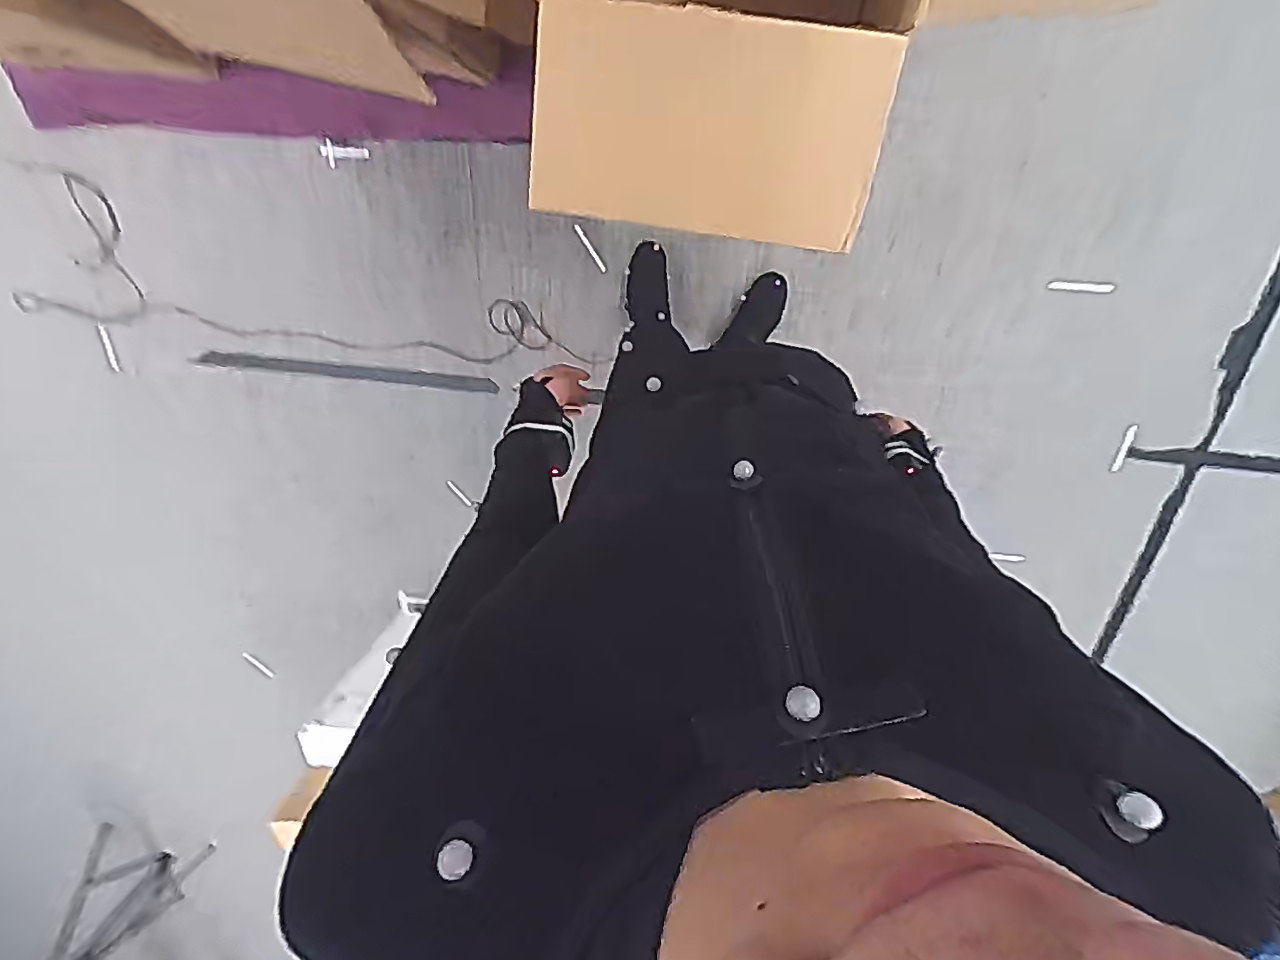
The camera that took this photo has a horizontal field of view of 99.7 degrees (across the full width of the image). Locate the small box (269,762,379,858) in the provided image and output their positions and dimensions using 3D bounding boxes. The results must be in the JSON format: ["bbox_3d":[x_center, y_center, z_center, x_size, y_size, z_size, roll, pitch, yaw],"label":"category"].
[{"bbox_3d":[-0.873,0.915,1.509,0.179,0.176,0.168,-6,114,8],"label":"small box"}]
